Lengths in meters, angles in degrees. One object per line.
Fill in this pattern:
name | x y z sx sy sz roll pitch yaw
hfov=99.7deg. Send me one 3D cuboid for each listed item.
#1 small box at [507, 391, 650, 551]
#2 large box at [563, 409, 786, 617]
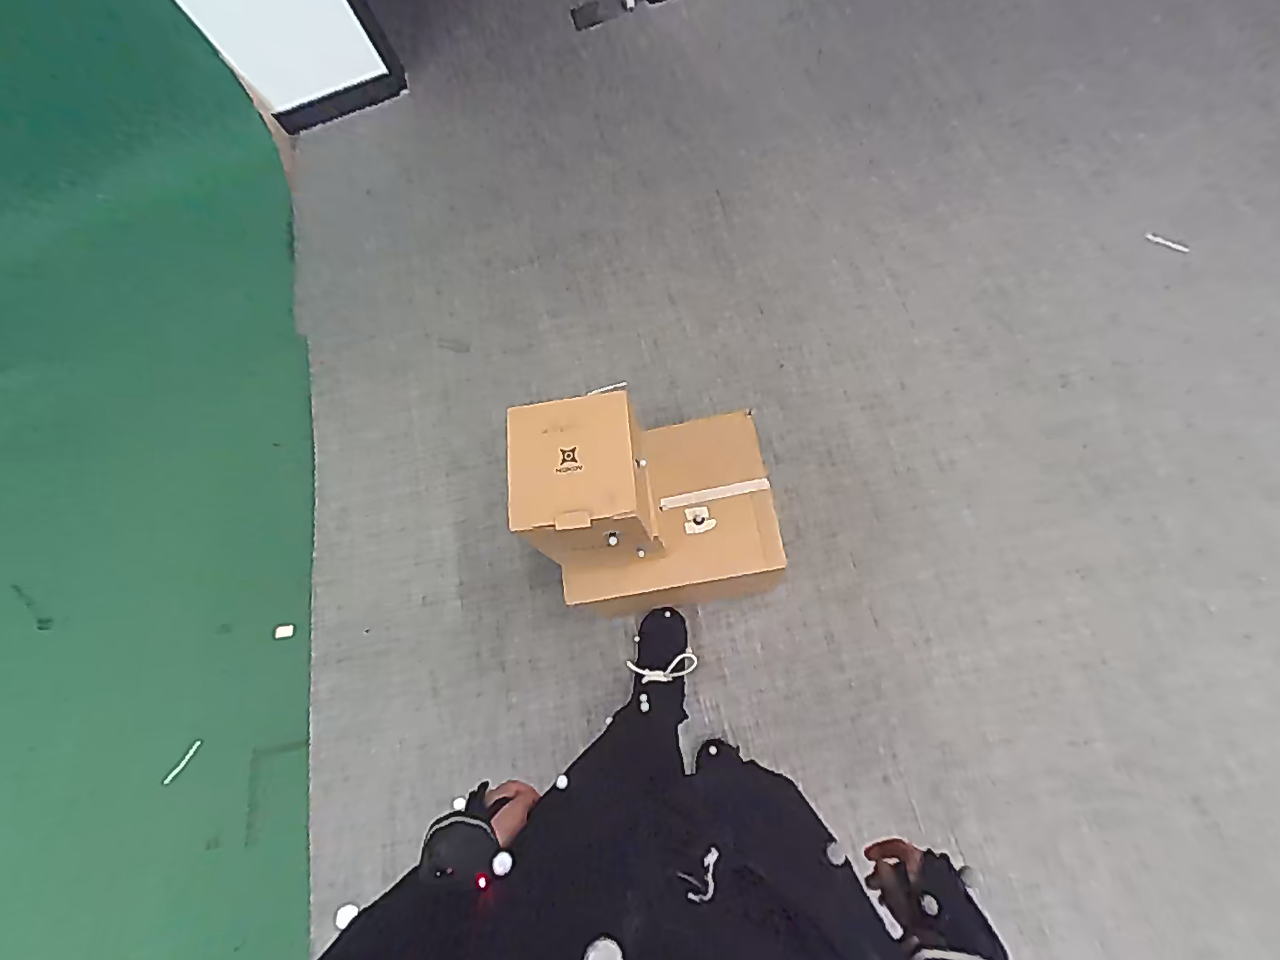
small box | -0.081 -0.001 0.769 0.168 0.176 0.179 -8 69 5
large box | 0.060 0.091 1.149 0.408 0.320 0.320 -11 71 5
